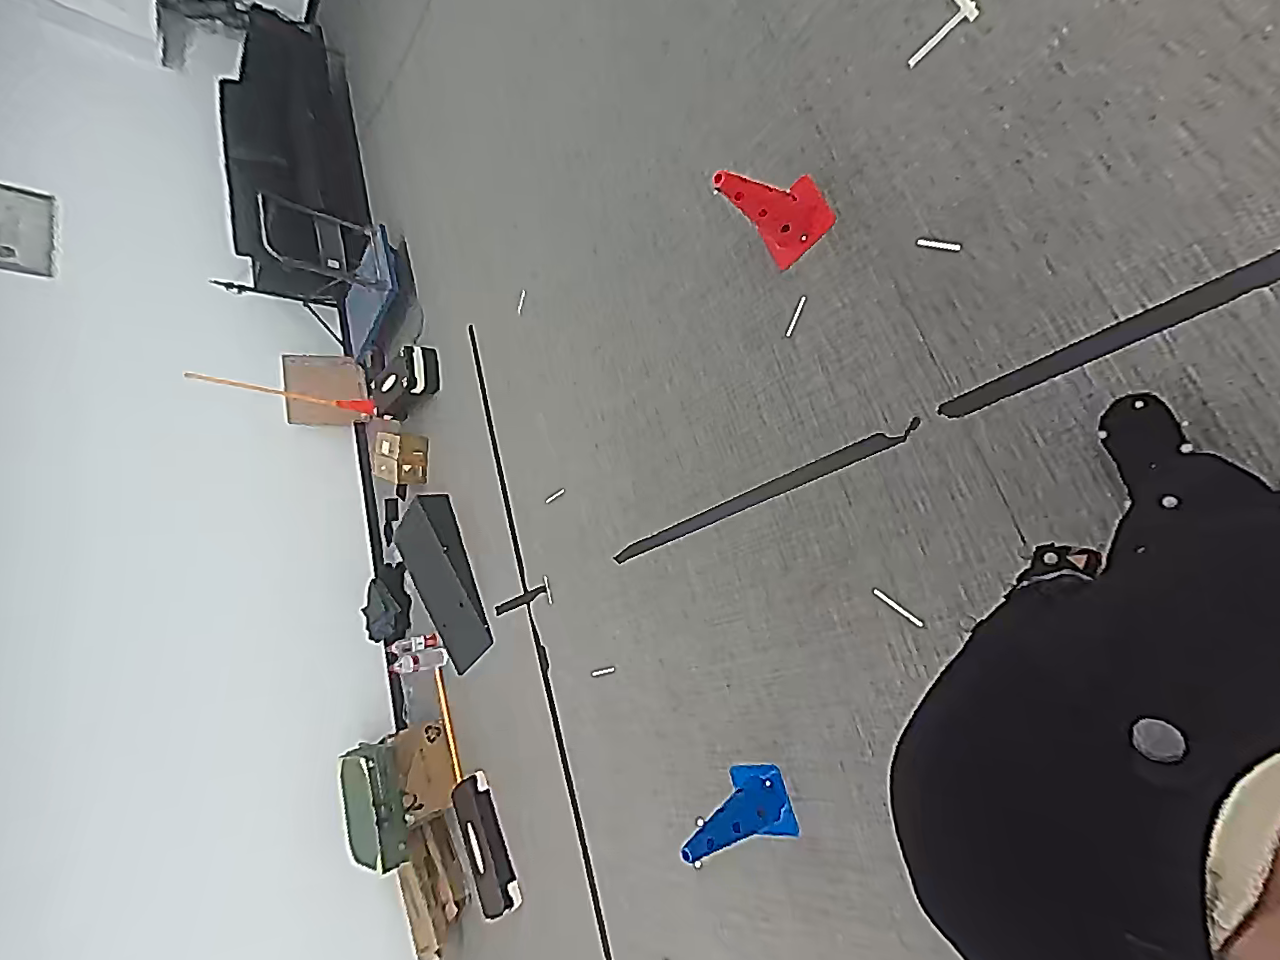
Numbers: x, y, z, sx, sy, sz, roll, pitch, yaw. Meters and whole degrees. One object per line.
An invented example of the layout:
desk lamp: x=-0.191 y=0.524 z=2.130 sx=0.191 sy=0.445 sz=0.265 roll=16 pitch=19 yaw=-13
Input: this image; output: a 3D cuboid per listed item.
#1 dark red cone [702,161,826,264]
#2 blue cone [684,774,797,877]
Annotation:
dark red cone: x=0.301 y=-0.752 z=1.439 sx=0.202 sy=0.394 sz=0.201 roll=-40 pitch=63 yaw=40
blue cone: x=0.259 y=1.005 z=1.543 sx=0.193 sy=0.380 sz=0.192 roll=-30 pitch=70 yaw=43
